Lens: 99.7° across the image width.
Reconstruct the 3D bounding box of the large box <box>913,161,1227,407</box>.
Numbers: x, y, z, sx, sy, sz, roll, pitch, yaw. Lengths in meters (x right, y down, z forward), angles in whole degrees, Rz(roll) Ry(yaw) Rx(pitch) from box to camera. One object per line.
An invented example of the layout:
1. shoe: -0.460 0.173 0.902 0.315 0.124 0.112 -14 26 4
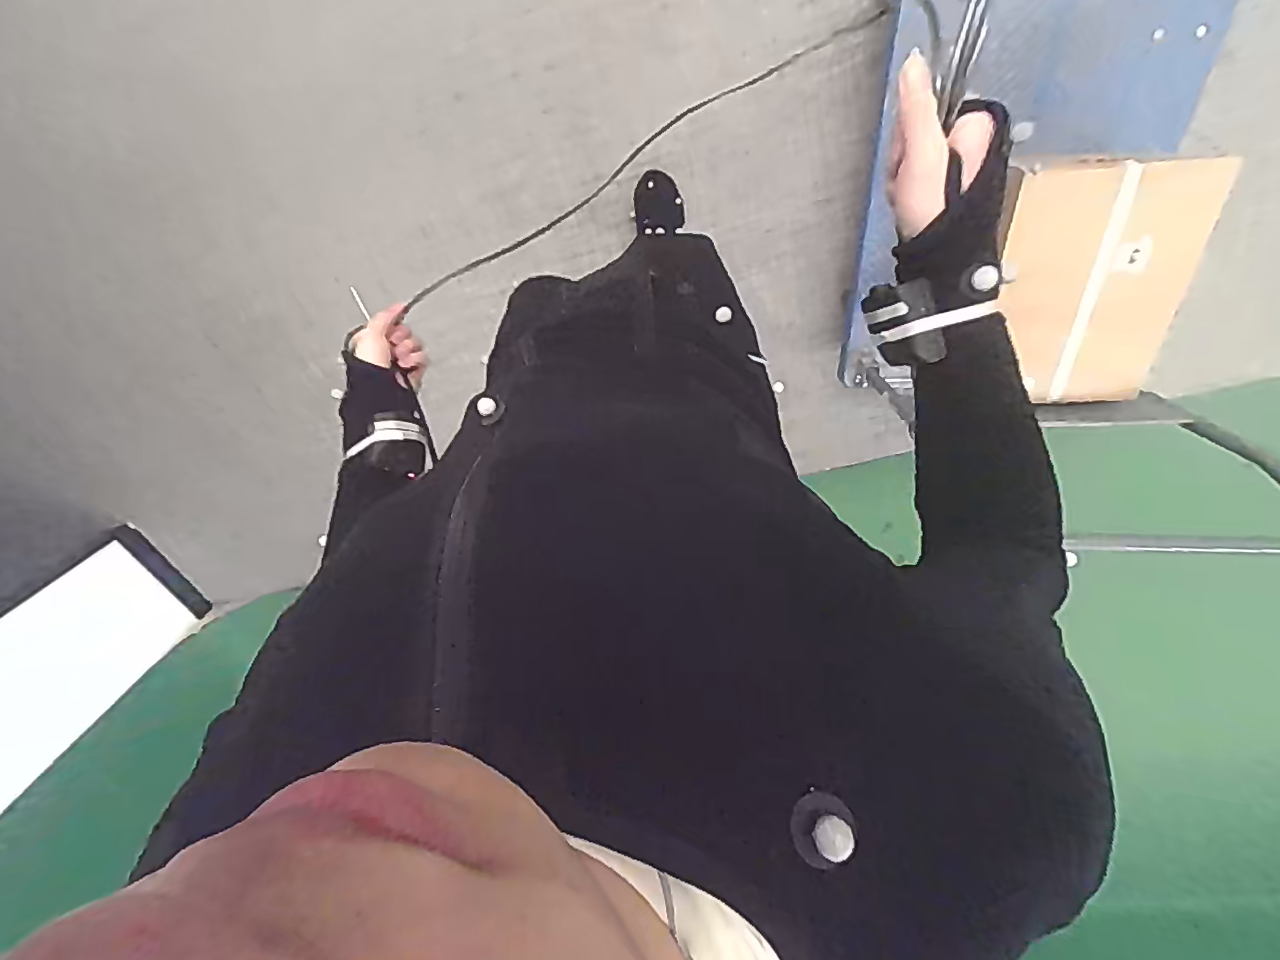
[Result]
1. large box: 0.780 -0.388 1.071 0.320 0.320 0.408 0 121 6
